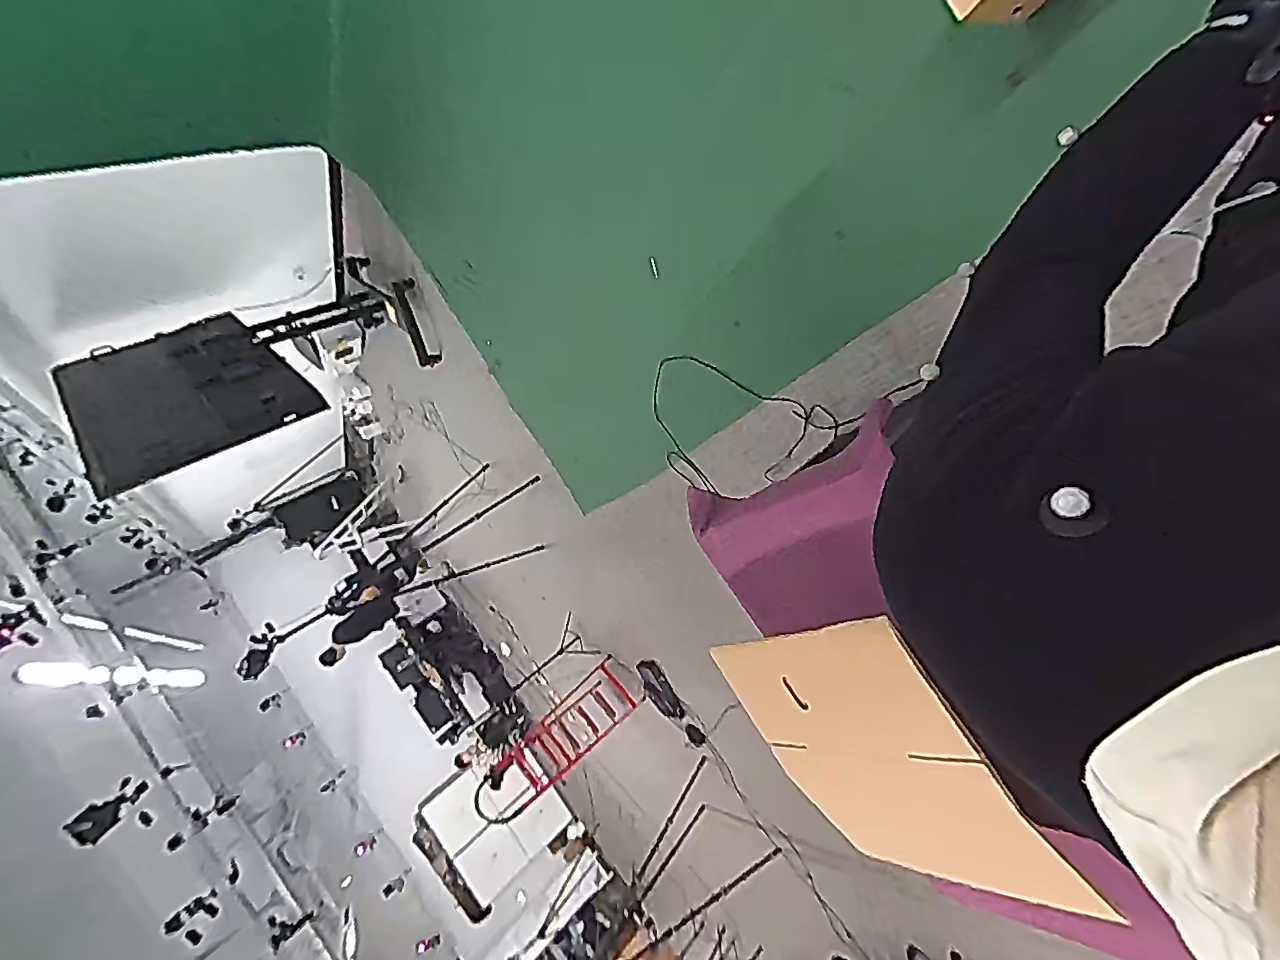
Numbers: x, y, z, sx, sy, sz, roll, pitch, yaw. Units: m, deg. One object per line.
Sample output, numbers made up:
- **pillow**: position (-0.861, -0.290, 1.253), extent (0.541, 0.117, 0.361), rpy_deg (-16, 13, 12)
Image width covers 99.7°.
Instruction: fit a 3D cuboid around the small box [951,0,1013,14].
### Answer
- **small box**: position (0.610, -0.937, 0.914), extent (0.179, 0.176, 0.168), rpy_deg (58, 148, -2)
